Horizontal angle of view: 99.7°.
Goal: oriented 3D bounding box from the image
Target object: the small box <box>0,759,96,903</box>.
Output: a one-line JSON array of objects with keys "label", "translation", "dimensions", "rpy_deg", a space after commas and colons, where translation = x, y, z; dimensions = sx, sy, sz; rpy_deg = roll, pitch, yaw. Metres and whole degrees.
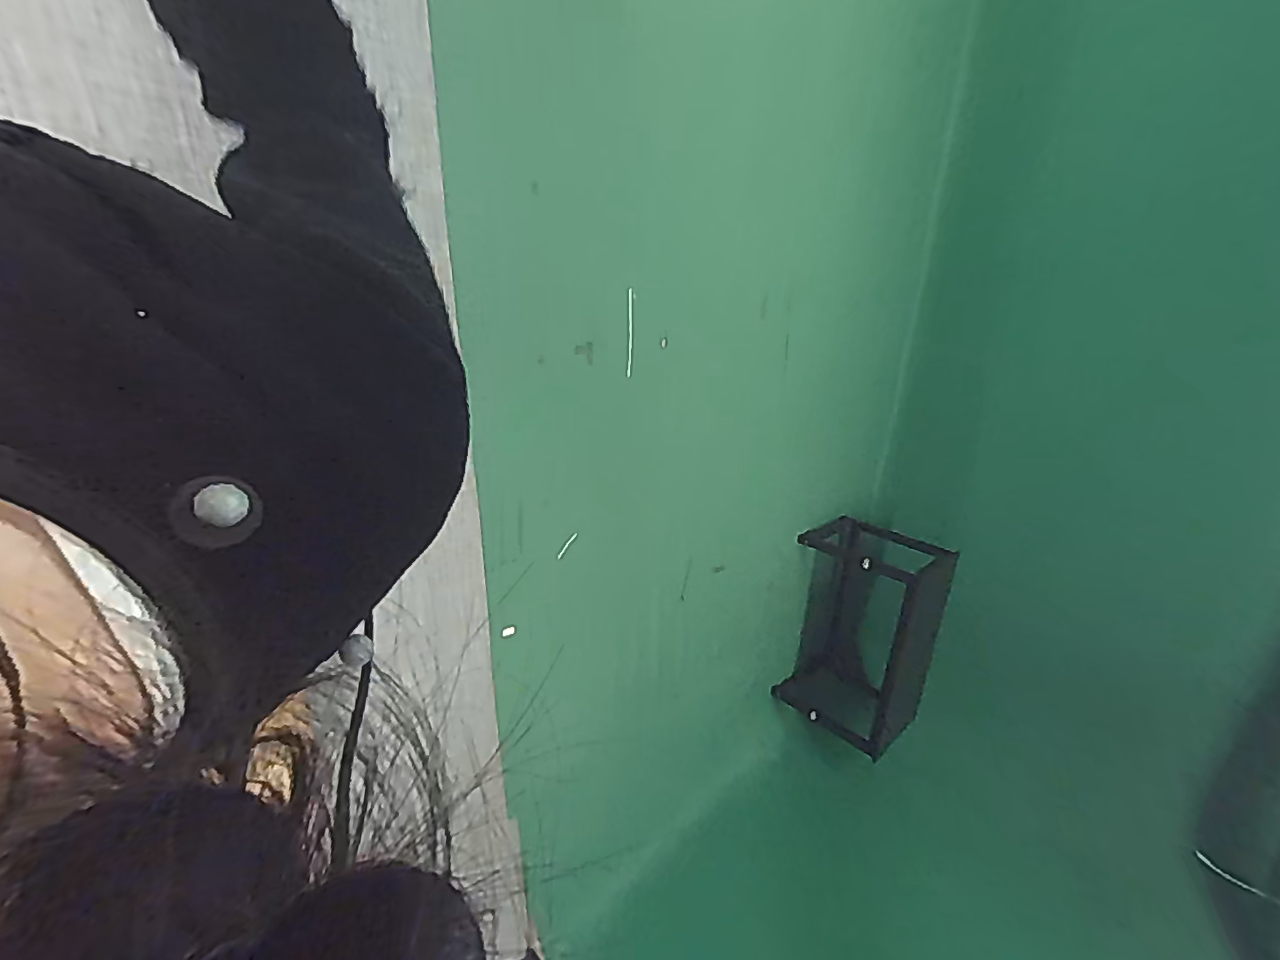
[{"label": "small box", "translation": [-1.266, 0.718, 1.124], "dimensions": [0.168, 0.176, 0.179], "rpy_deg": [-12, 115, -41]}]

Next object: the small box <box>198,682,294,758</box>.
[{"label": "small box", "translation": [-0.995, 0.640, 1.366], "dimensions": [0.168, 0.176, 0.179], "rpy_deg": [-11, 114, -41]}]

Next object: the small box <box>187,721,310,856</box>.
[{"label": "small box", "translation": [-0.899, 0.700, 1.245], "dimensions": [0.168, 0.176, 0.179], "rpy_deg": [-31, 126, -34]}]
